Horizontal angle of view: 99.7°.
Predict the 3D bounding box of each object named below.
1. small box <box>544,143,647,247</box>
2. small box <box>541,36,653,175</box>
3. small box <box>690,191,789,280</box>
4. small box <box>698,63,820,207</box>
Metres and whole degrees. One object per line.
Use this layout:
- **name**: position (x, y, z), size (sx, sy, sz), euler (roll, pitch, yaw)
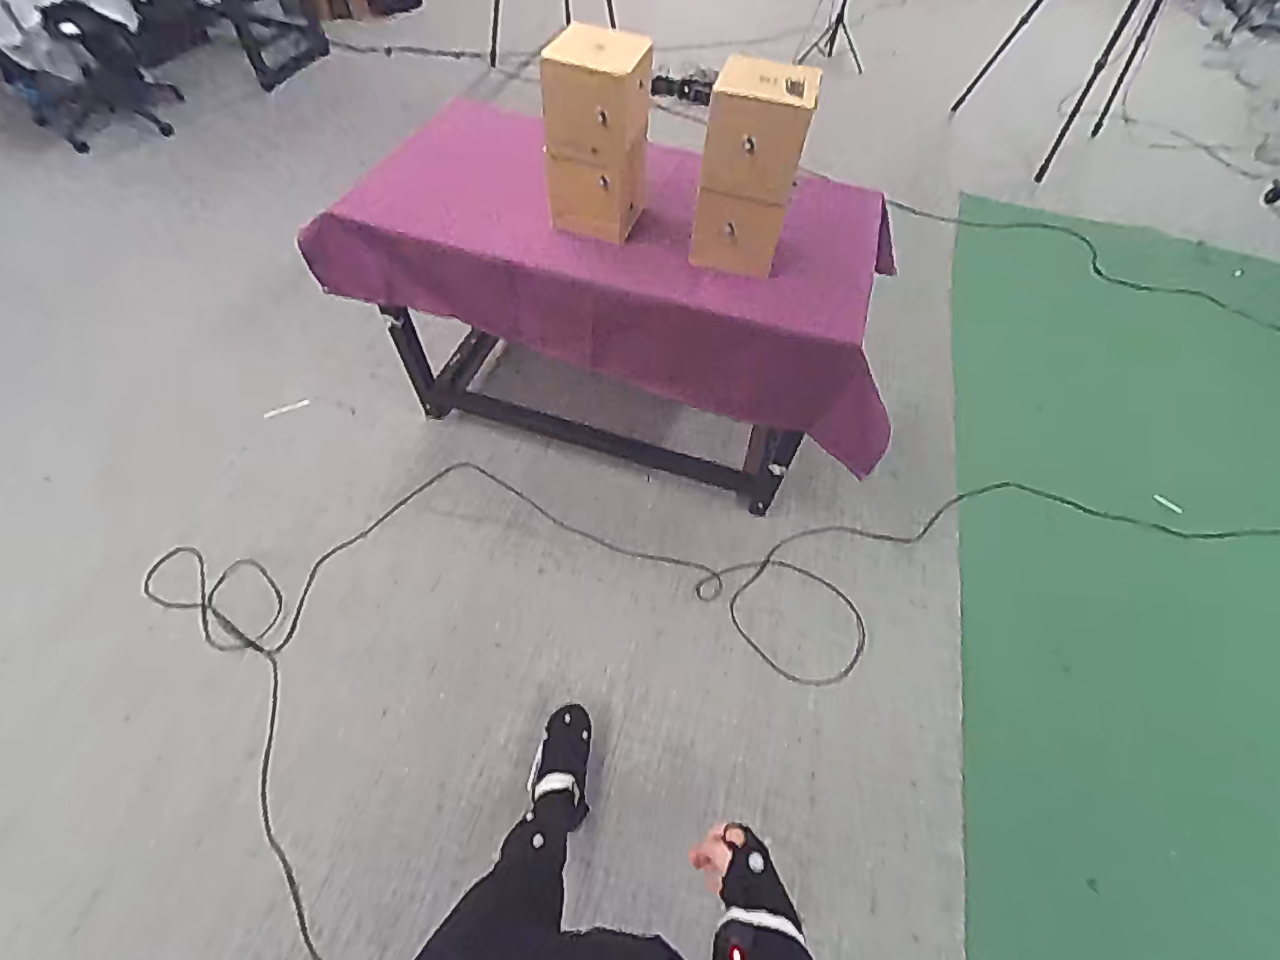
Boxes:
- **small box**: position (-0.096, -0.651, 1.209), size (0.179, 0.176, 0.168), euler (18, 57, 7)
- **small box**: position (-0.081, -0.739, 1.073), size (0.168, 0.176, 0.179), euler (17, 56, 6)
- **small box**: position (0.212, -0.555, 1.158), size (0.179, 0.176, 0.168), euler (14, 57, 7)
- **small box**: position (0.219, -0.644, 1.020), size (0.179, 0.176, 0.168), euler (15, 56, 7)
